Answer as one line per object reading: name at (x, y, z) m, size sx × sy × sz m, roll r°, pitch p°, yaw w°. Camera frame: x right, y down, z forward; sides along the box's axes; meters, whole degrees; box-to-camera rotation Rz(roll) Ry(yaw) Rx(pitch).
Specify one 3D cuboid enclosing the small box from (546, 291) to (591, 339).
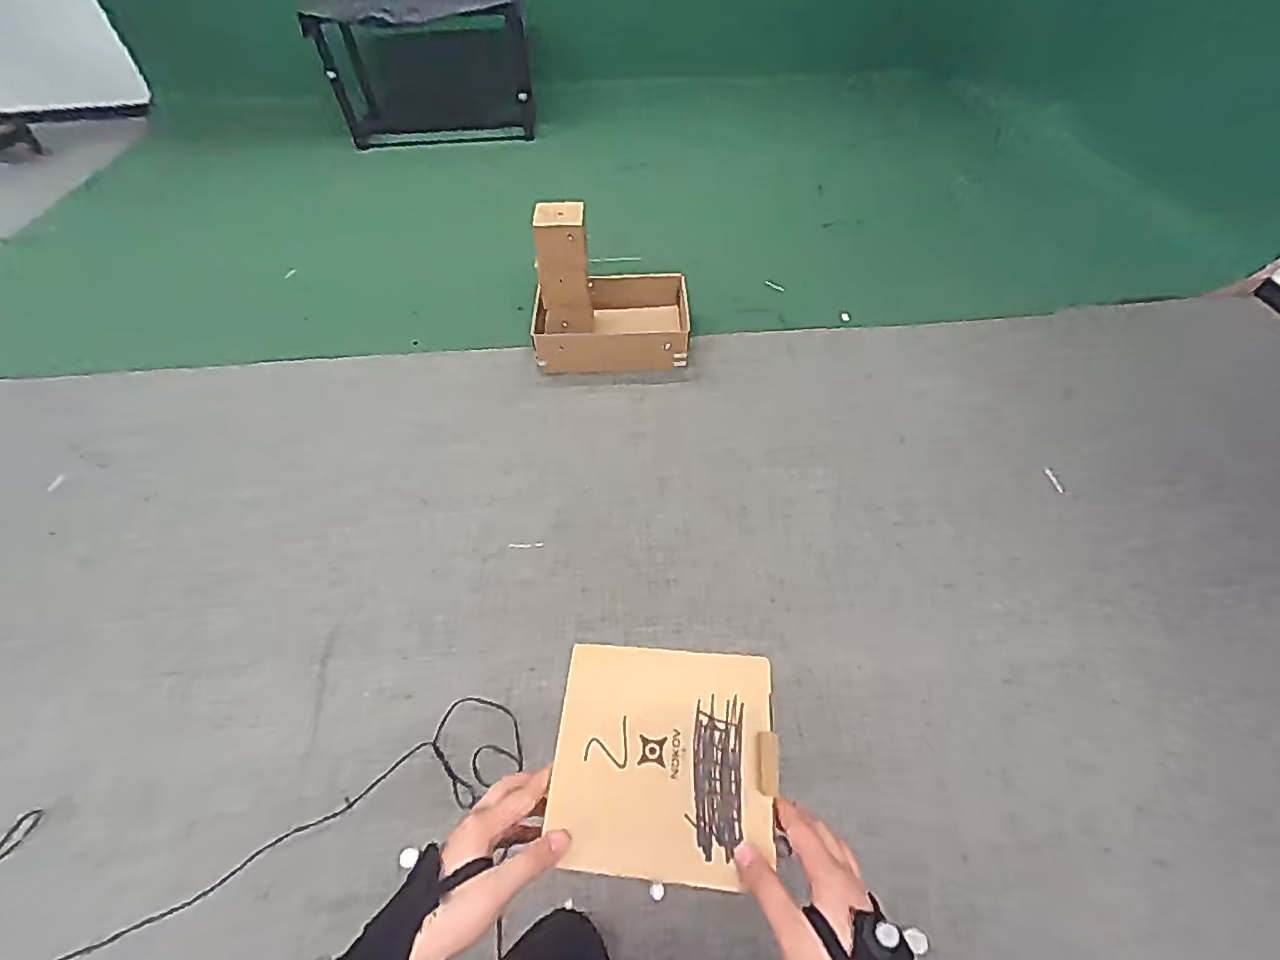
small box at (-0.290, -0.698, 2.230) m, size 0.168 × 0.176 × 0.179 m, roll -2°, pitch 53°, yaw -1°

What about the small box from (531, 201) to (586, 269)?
small box at (-0.290, -0.886, 1.960) m, size 0.179 × 0.176 × 0.168 m, roll -2°, pitch 53°, yaw 0°

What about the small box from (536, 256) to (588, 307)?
small box at (-0.297, -0.788, 2.093) m, size 0.179 × 0.176 × 0.168 m, roll -1°, pitch 54°, yaw -1°
